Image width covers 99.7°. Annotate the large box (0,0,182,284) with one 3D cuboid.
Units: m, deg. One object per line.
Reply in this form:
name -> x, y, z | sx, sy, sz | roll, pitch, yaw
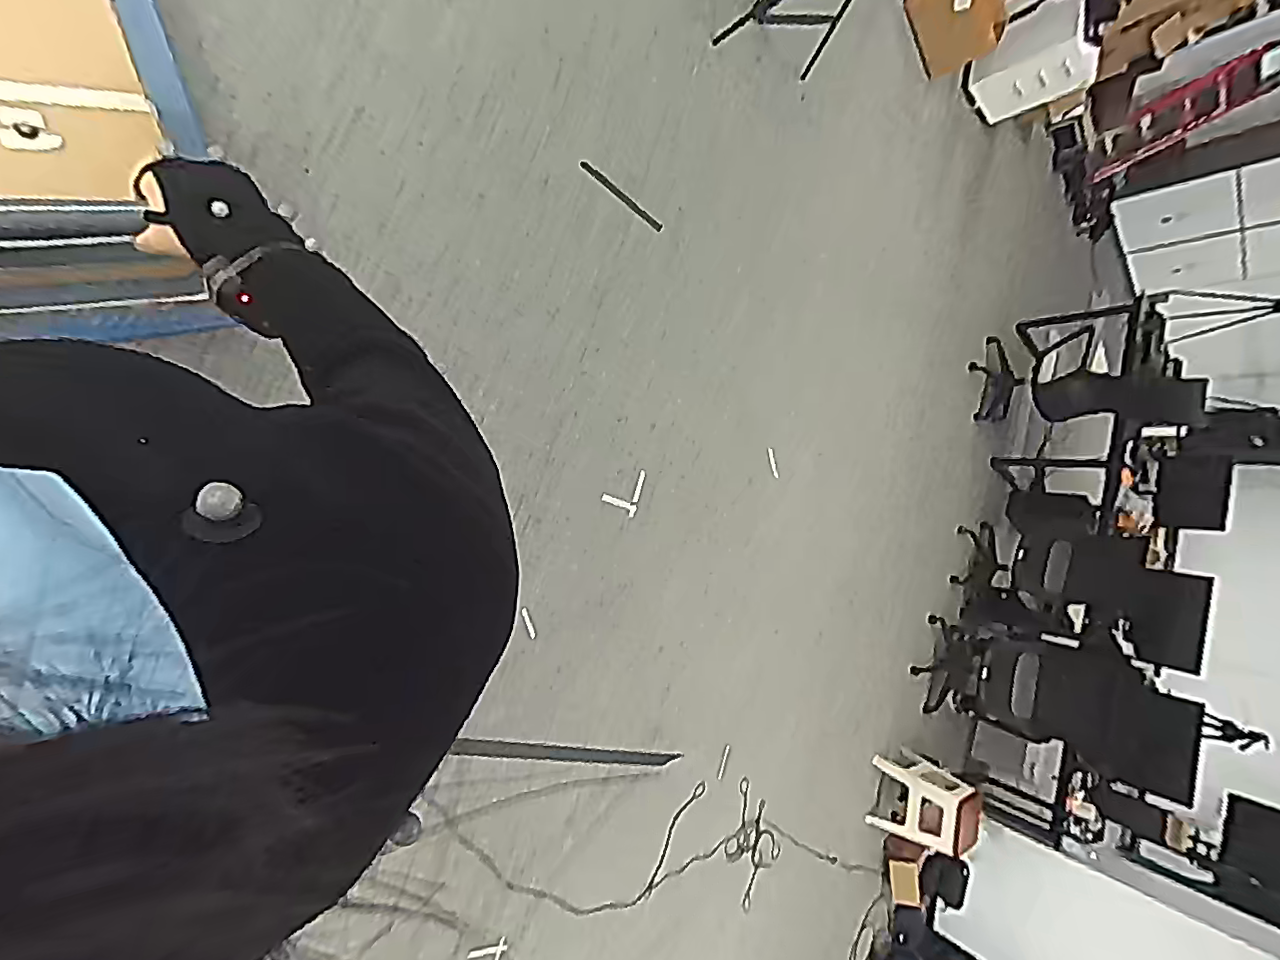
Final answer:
large box -> -0.943, -0.466, 0.750 | 0.408, 0.320, 0.320 | -22, 107, -38
